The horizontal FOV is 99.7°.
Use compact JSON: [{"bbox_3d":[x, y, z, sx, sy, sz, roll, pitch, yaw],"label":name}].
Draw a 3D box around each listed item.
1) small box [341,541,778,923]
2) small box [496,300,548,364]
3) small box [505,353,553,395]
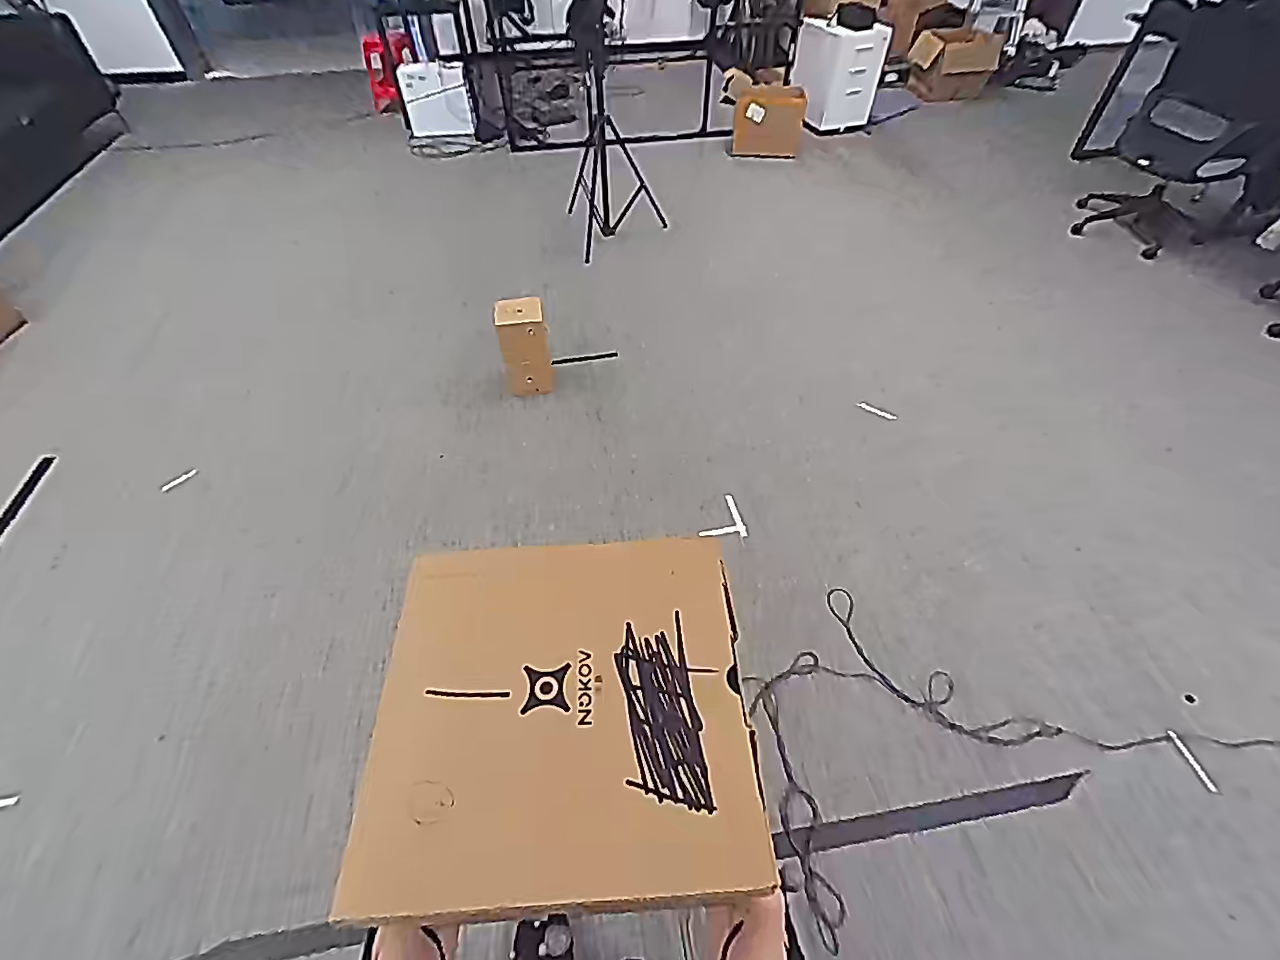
[{"bbox_3d":[-0.034,0.153,0.324,0.179,0.176,0.168,-4,50,-1],"label":"small box"},{"bbox_3d":[-0.452,-0.569,2.083,0.179,0.176,0.168,-8,50,-5],"label":"small box"},{"bbox_3d":[-0.452,-0.460,2.209,0.168,0.176,0.179,-8,51,-5],"label":"small box"}]
